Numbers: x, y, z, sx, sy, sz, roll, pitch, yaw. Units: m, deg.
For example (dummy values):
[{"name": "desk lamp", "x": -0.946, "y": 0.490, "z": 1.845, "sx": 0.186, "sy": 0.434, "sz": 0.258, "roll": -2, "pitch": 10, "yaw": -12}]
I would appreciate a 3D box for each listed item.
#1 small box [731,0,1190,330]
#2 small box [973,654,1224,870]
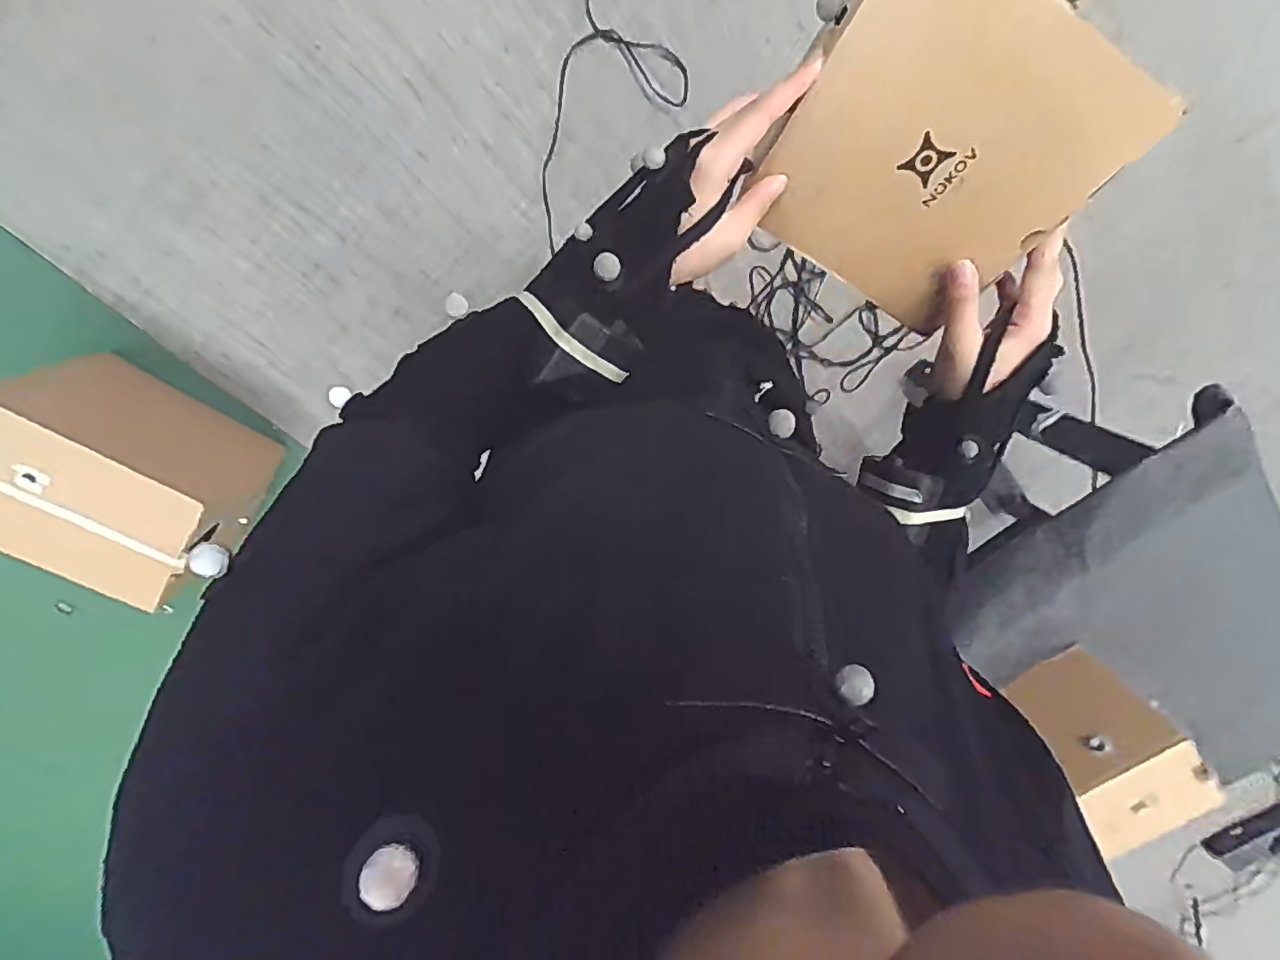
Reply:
[{"name": "small box", "x": 0.185, "y": -0.244, "z": 0.366, "sx": 0.179, "sy": 0.176, "sz": 0.168, "roll": 27, "pitch": 137, "yaw": -11}, {"name": "small box", "x": 0.611, "y": 0.377, "z": 0.741, "sx": 0.179, "sy": 0.176, "sz": 0.168, "roll": -40, "pitch": 111, "yaw": 13}]
